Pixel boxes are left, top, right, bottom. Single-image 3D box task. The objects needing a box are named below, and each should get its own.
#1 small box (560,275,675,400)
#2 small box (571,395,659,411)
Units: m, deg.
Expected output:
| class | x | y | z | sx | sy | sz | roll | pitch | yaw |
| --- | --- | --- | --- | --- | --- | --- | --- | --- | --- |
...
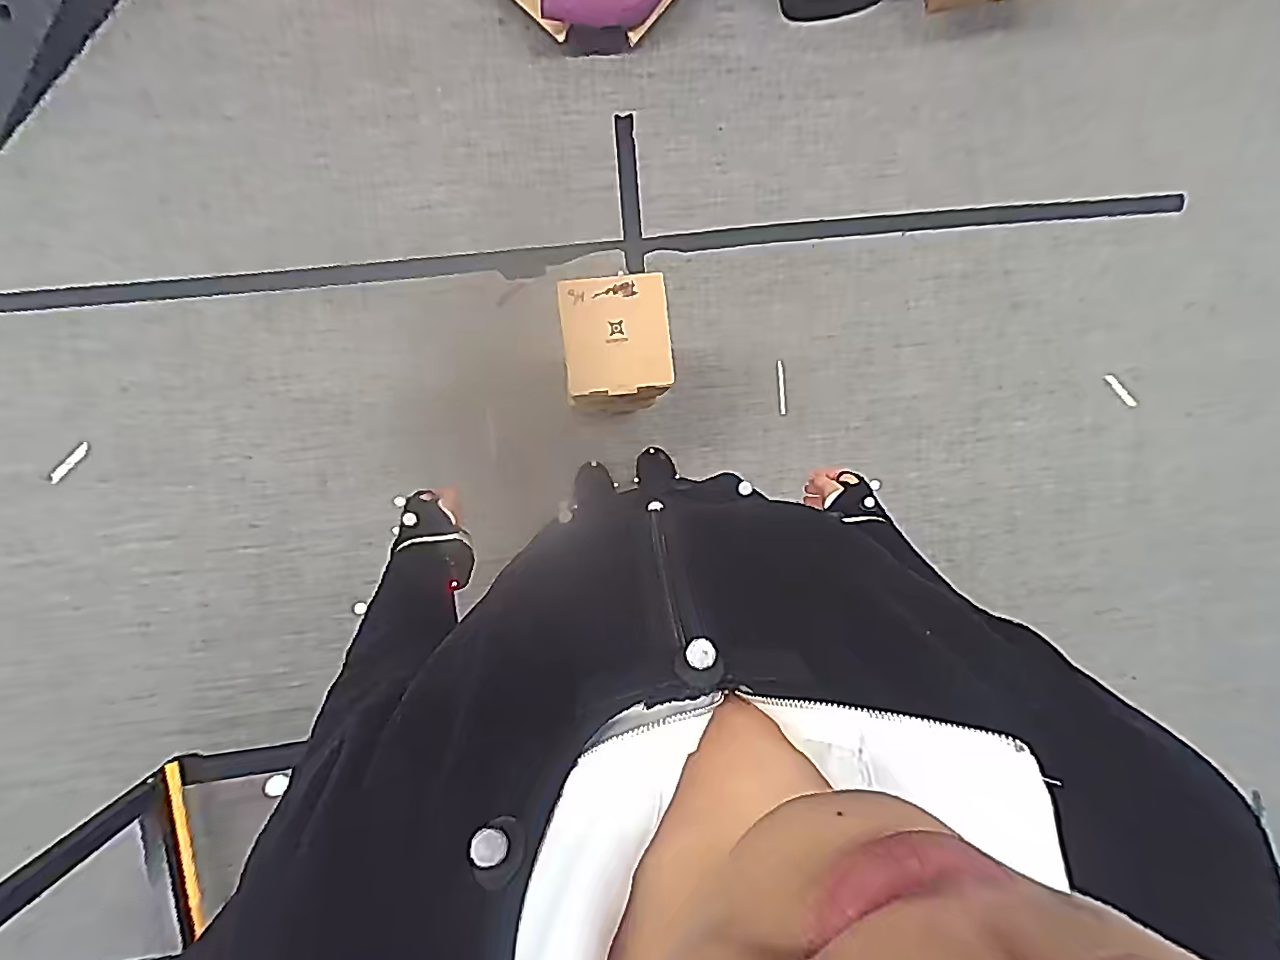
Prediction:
| class | x | y | z | sx | sy | sz | roll | pitch | yaw |
| --- | --- | --- | --- | --- | --- | --- | --- | --- | --- |
| small box | -0.037 | -0.228 | 0.907 | 0.168 | 0.176 | 0.179 | -6 | 95 | -3 |
| small box | -0.053 | -0.230 | 1.071 | 0.168 | 0.176 | 0.179 | -2 | 95 | -3 |
